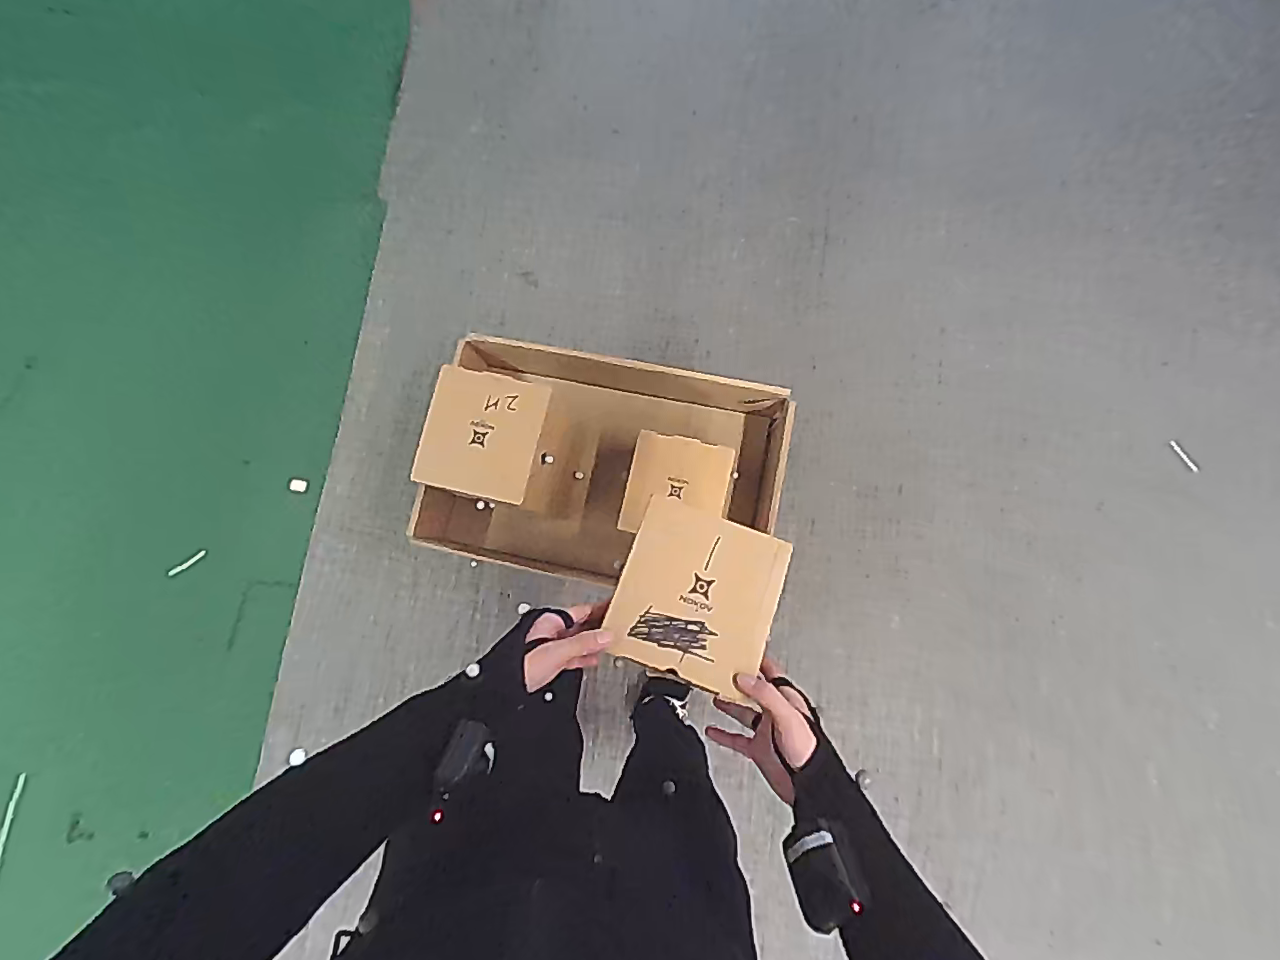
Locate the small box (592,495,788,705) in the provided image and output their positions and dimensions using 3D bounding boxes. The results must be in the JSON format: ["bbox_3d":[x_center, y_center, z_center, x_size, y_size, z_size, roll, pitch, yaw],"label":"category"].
[{"bbox_3d":[0.053,0.144,0.644,0.168,0.176,0.179,21,73,3],"label":"small box"}]

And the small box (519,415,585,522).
[{"bbox_3d":[-0.207,-0.031,0.996,0.168,0.176,0.179,14,81,7],"label":"small box"}]

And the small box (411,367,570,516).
[{"bbox_3d":[-0.217,-0.049,0.833,0.168,0.176,0.179,13,82,5],"label":"small box"}]

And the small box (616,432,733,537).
[{"bbox_3d":[0.064,0.031,0.970,0.168,0.176,0.179,12,81,6],"label":"small box"}]
